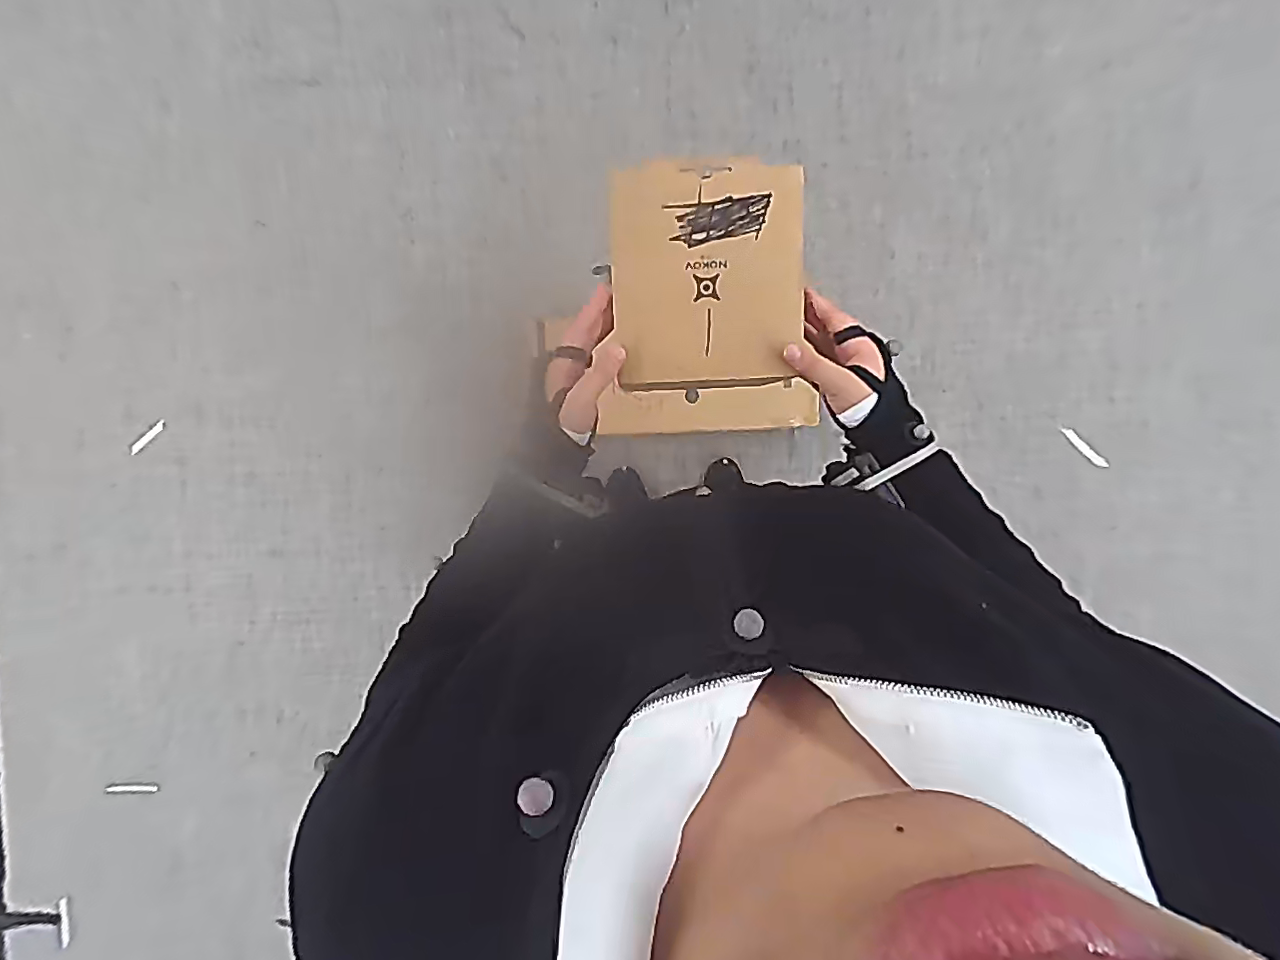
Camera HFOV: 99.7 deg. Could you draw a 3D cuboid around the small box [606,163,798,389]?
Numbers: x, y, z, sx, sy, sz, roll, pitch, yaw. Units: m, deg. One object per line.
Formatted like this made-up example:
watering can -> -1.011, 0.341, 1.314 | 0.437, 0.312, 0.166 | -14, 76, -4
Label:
small box -> 0.054, -0.187, 0.544 | 0.168, 0.176, 0.179 | -3, 97, 1
